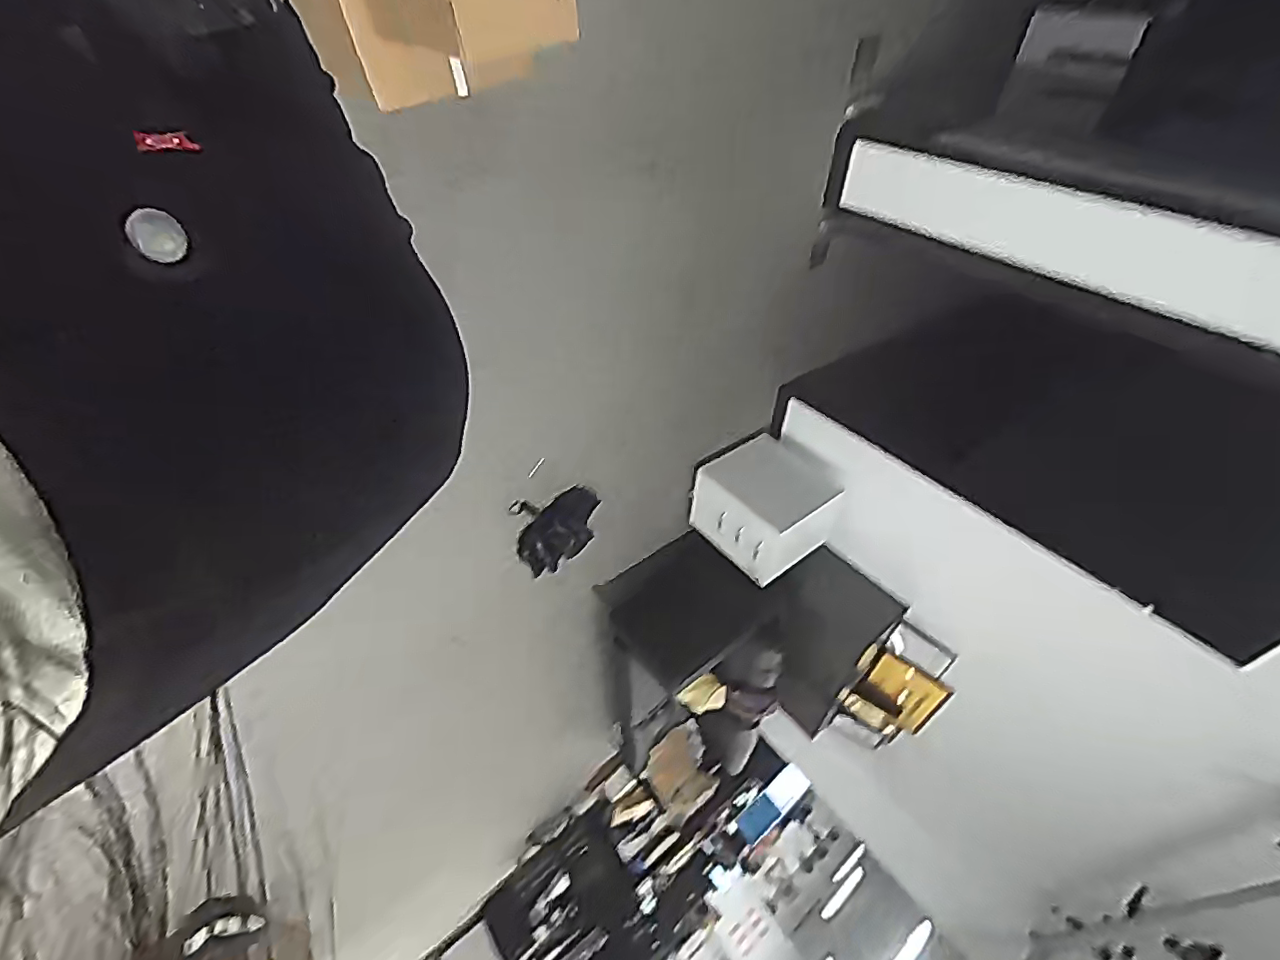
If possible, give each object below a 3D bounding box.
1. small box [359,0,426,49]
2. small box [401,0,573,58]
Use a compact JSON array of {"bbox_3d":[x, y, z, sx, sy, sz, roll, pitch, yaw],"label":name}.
[{"bbox_3d":[-0.315,-0.749,0.776,0.168,0.176,0.179,-30,144,-24],"label":"small box"},{"bbox_3d":[-0.210,-0.658,0.689,0.179,0.176,0.168,-30,143,-23],"label":"small box"}]
